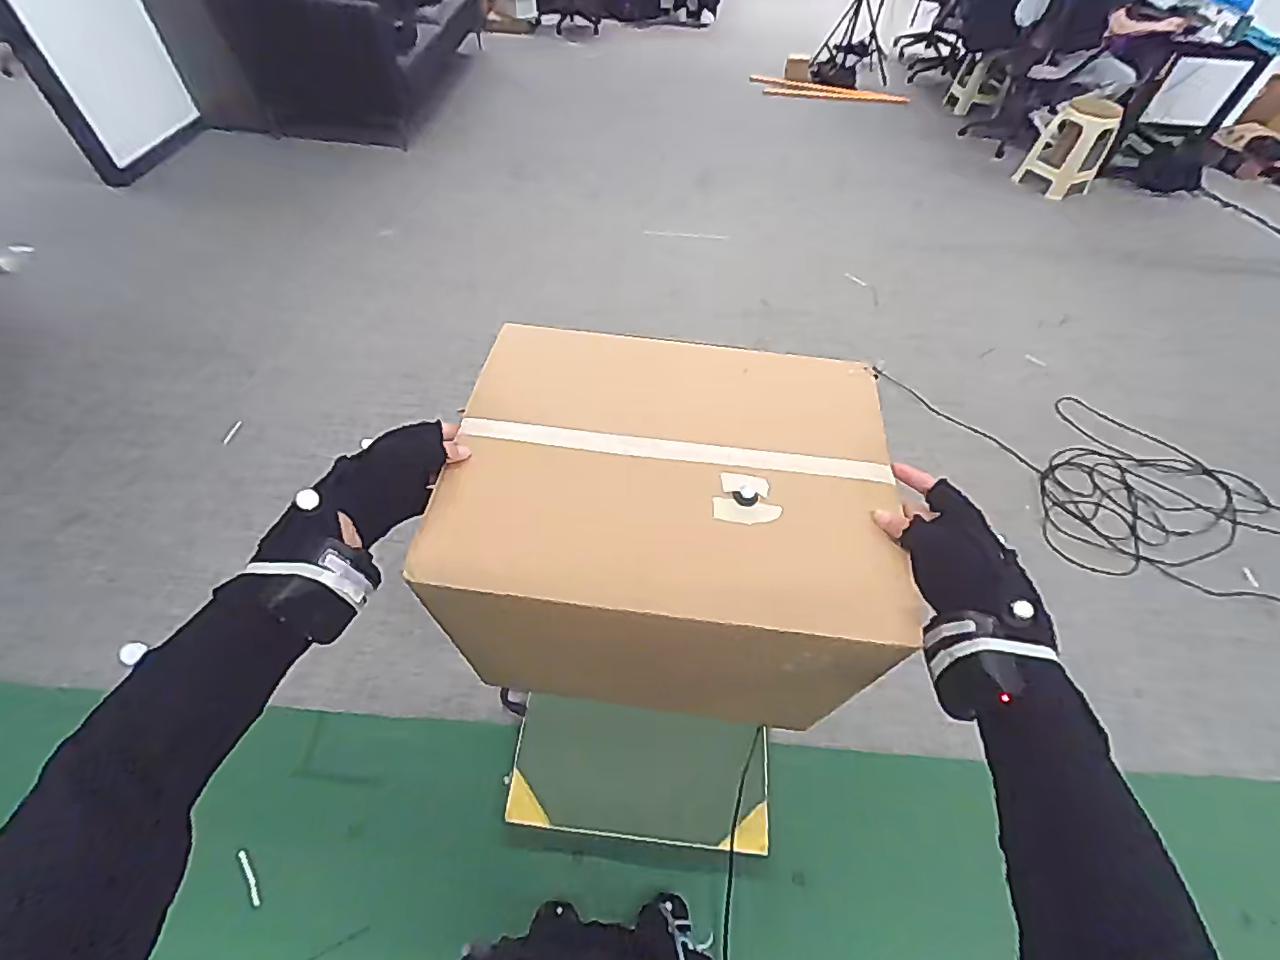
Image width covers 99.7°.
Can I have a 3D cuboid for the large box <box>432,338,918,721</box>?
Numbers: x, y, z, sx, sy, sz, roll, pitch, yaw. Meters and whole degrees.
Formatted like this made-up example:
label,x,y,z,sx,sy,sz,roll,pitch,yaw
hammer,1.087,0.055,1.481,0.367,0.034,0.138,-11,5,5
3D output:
label,x,y,z,sx,sy,sz,roll,pitch,yaw
large box,0.032,0.069,0.638,0.408,0.320,0.320,7,55,2
